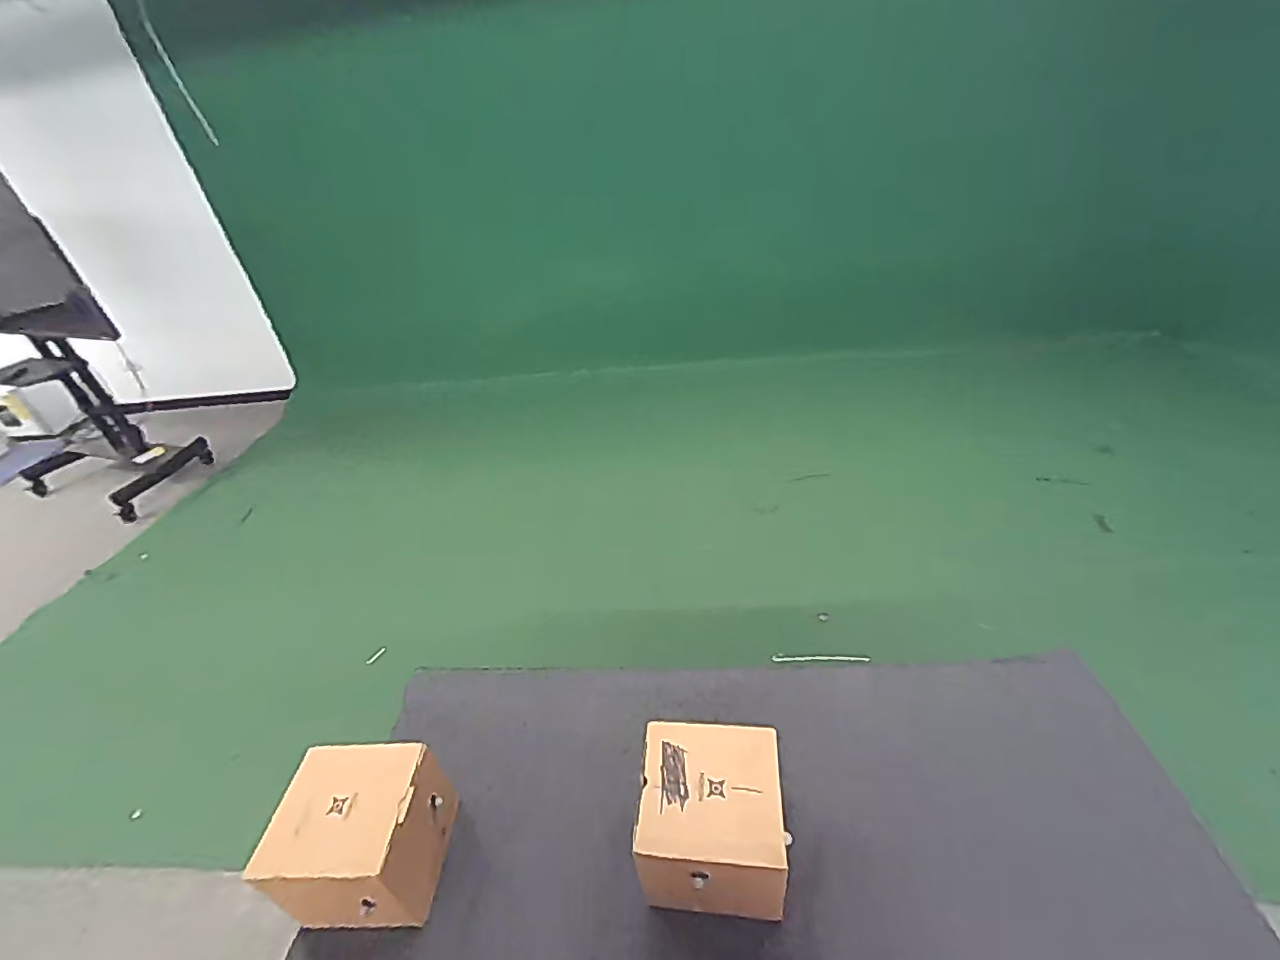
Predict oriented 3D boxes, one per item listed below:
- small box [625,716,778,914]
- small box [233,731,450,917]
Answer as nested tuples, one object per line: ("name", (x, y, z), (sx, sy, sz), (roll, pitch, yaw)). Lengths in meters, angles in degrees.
("small box", (0.091, 0.441, 0.716), (0.179, 0.176, 0.168), (1, 38, 12))
("small box", (-0.385, 0.469, 0.740), (0.179, 0.176, 0.168), (-5, 34, 5))
